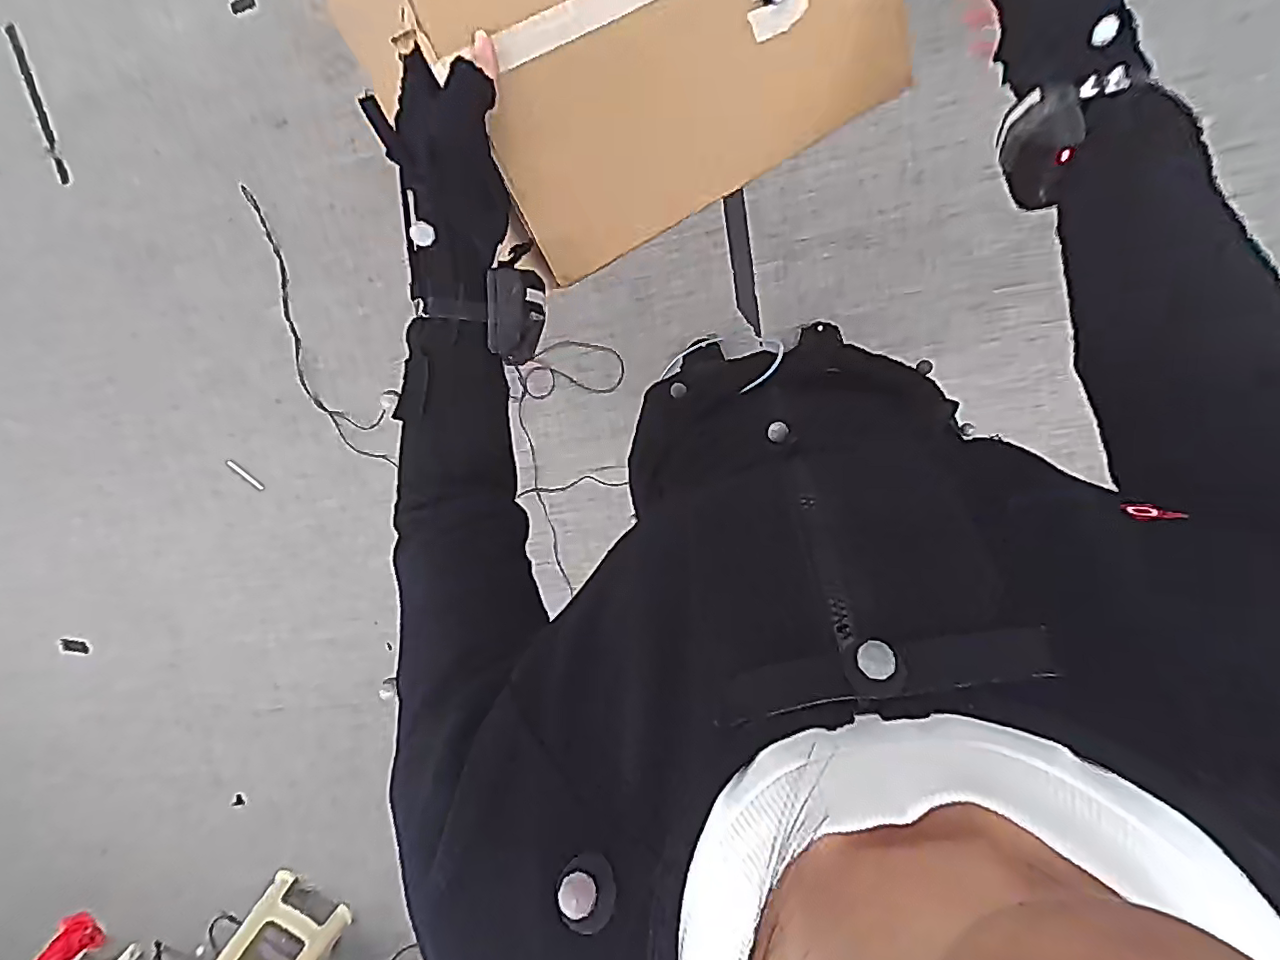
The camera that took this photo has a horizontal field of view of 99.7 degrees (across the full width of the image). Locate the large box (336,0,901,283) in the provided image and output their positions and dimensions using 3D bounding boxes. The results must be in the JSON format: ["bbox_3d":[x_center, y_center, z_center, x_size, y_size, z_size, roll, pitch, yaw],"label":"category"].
[{"bbox_3d":[-0.032,-0.435,0.539,0.408,0.320,0.320,-34,120,-11],"label":"large box"}]
